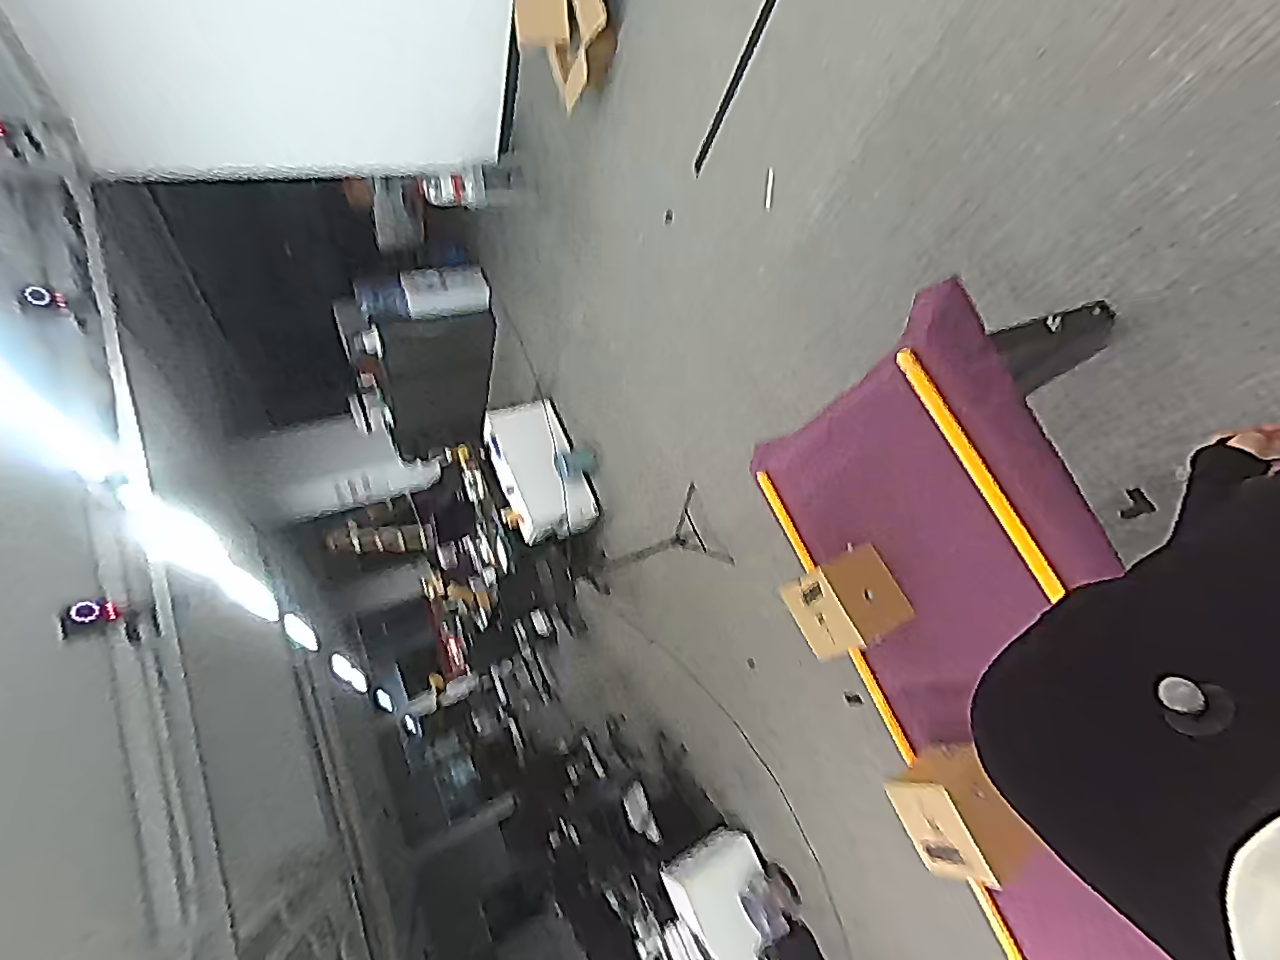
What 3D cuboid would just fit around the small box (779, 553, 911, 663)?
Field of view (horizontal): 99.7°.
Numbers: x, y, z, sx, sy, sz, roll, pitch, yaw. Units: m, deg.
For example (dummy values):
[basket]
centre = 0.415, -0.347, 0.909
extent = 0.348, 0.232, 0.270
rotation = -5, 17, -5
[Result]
[small box]
centre = 0.450, 0.276, 1.195
extent = 0.179, 0.176, 0.168
rotation = 62, 151, 18
